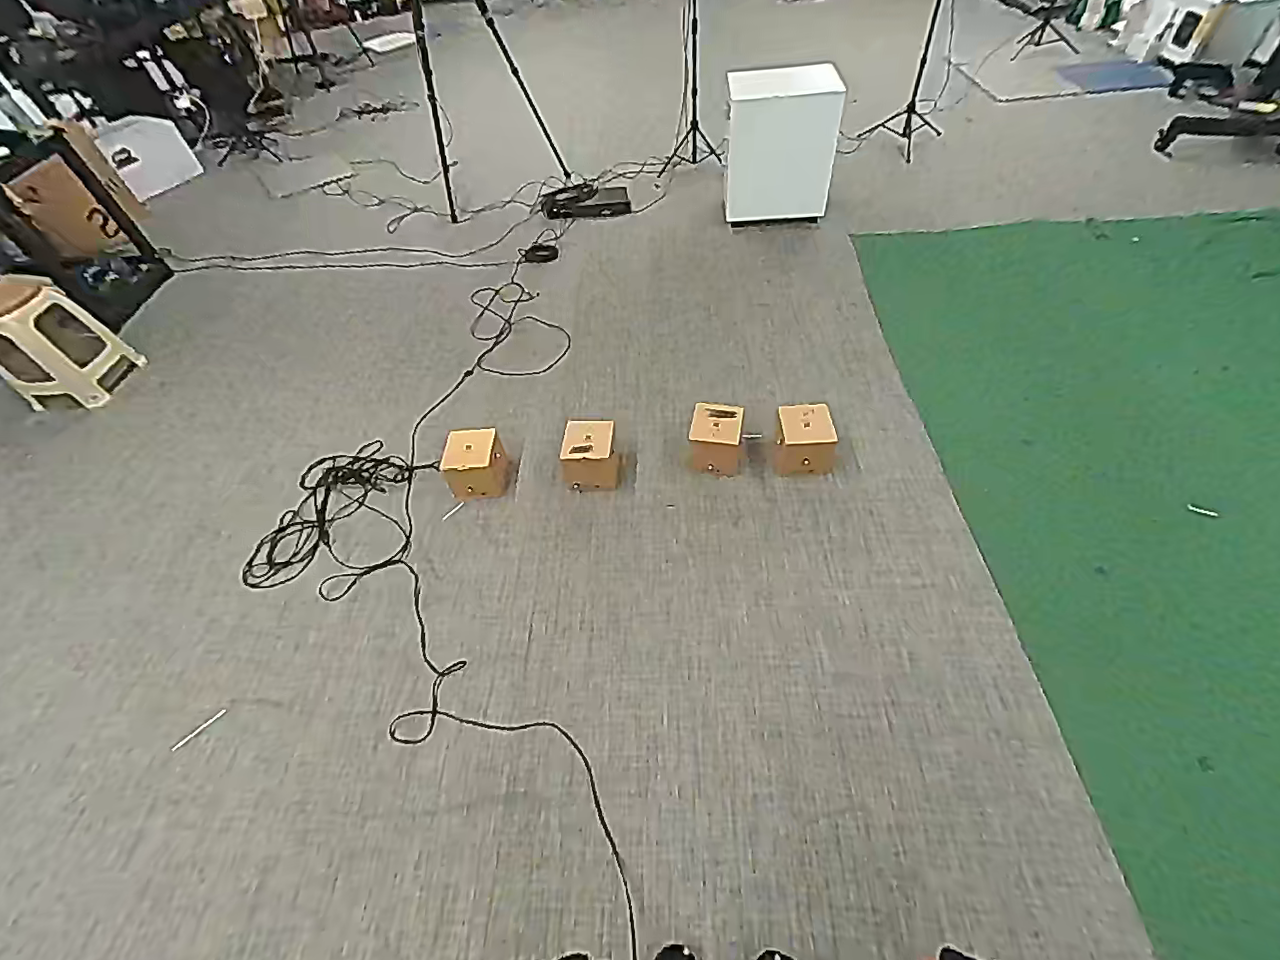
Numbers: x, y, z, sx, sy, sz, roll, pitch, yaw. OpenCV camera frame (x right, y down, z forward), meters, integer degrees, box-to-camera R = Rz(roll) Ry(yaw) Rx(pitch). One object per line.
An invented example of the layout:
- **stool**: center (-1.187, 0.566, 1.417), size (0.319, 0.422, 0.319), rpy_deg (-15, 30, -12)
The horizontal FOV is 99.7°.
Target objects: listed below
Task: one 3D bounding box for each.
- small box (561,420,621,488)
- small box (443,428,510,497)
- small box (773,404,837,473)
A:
- **small box**: center (-0.162, -0.087, 1.869), size (0.168, 0.176, 0.179), rpy_deg (0, 51, 7)
- **small box**: center (-0.564, -0.059, 1.893), size (0.168, 0.176, 0.179), rpy_deg (-4, 52, 4)
- **small box**: center (0.554, -0.134, 1.835), size (0.168, 0.176, 0.179), rpy_deg (-2, 52, 3)
